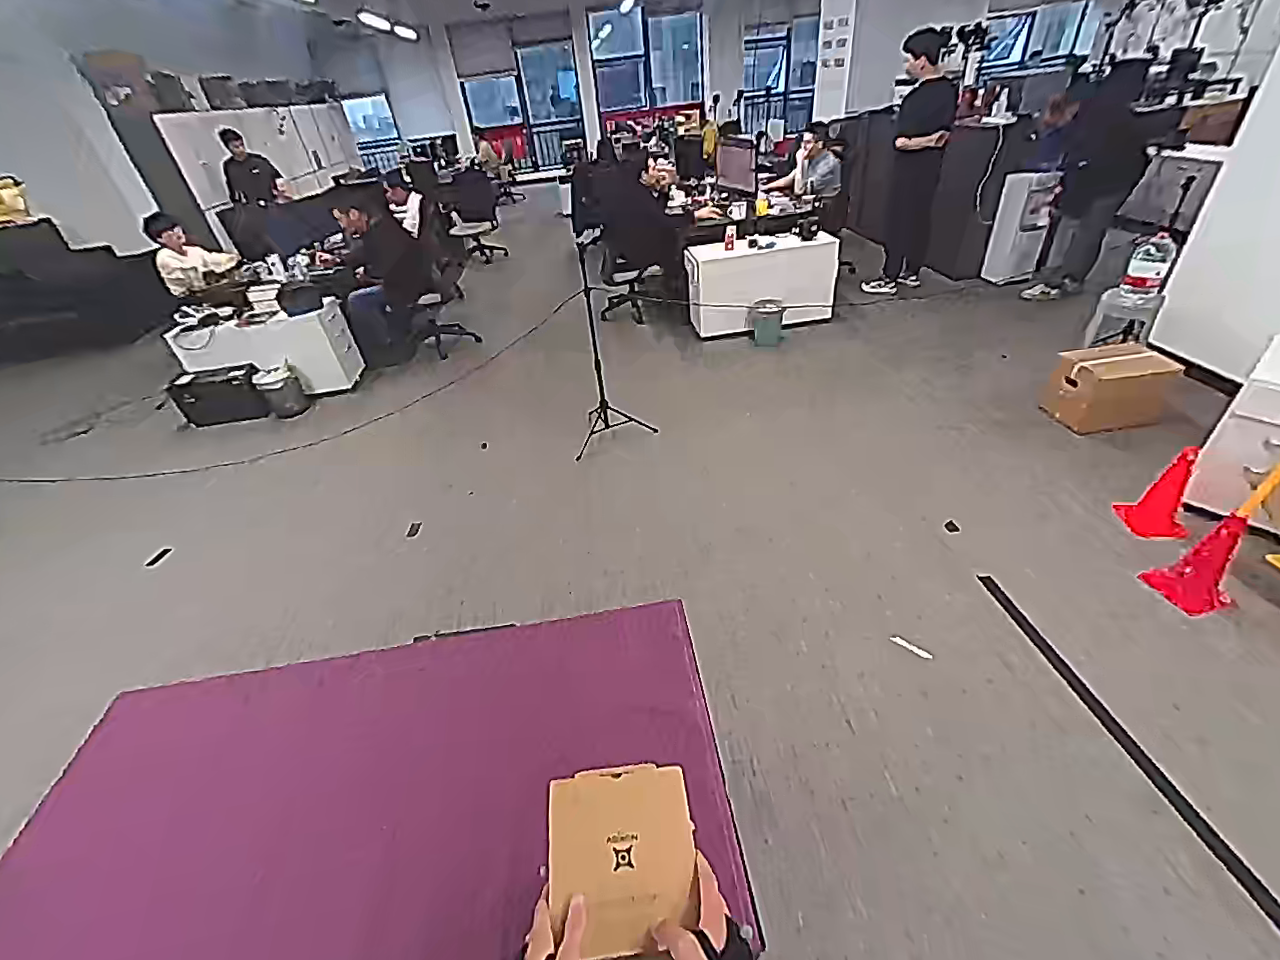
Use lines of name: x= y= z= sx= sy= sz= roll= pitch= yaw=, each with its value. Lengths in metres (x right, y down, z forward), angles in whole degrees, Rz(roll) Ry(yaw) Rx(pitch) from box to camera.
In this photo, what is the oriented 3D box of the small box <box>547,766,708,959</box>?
small box: x=-0.023 y=0.476 z=0.653 sx=0.168 sy=0.176 sz=0.179 roll=-2 pitch=39 yaw=-6
